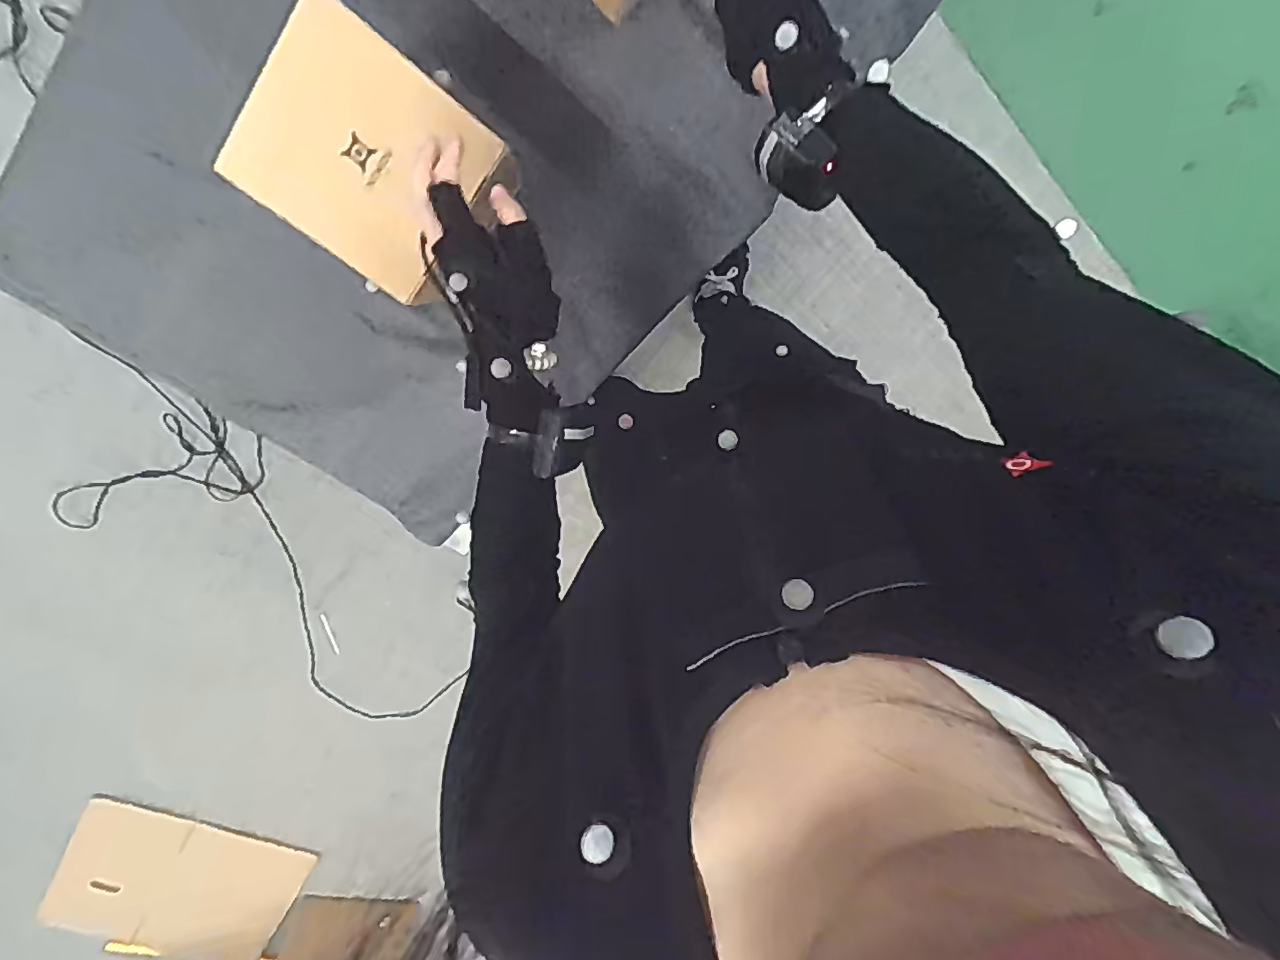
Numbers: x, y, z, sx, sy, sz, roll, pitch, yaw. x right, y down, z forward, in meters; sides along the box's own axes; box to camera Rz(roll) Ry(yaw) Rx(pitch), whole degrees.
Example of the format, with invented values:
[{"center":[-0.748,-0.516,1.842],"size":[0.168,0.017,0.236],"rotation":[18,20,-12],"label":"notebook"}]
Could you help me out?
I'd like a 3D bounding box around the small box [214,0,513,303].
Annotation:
[{"center":[-0.243,-0.292,0.526],"size":[0.179,0.176,0.168],"rotation":[34,101,-19],"label":"small box"}]
